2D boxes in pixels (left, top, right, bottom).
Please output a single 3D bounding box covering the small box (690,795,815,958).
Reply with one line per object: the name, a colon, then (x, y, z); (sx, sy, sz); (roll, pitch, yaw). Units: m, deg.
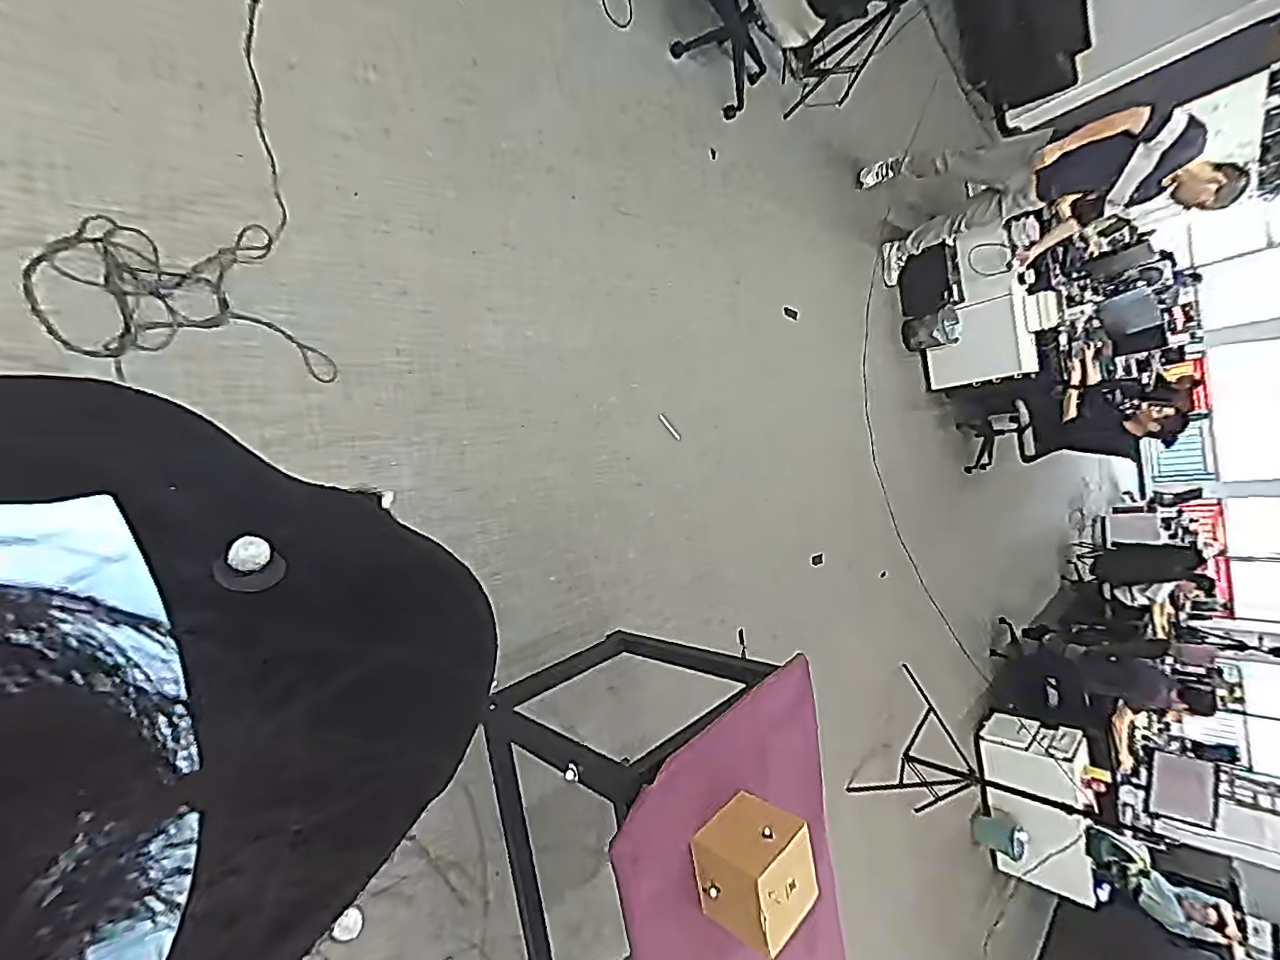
small box: (0.227, 0.783, 1.095); (0.179, 0.176, 0.168); (-15, 97, -41)
